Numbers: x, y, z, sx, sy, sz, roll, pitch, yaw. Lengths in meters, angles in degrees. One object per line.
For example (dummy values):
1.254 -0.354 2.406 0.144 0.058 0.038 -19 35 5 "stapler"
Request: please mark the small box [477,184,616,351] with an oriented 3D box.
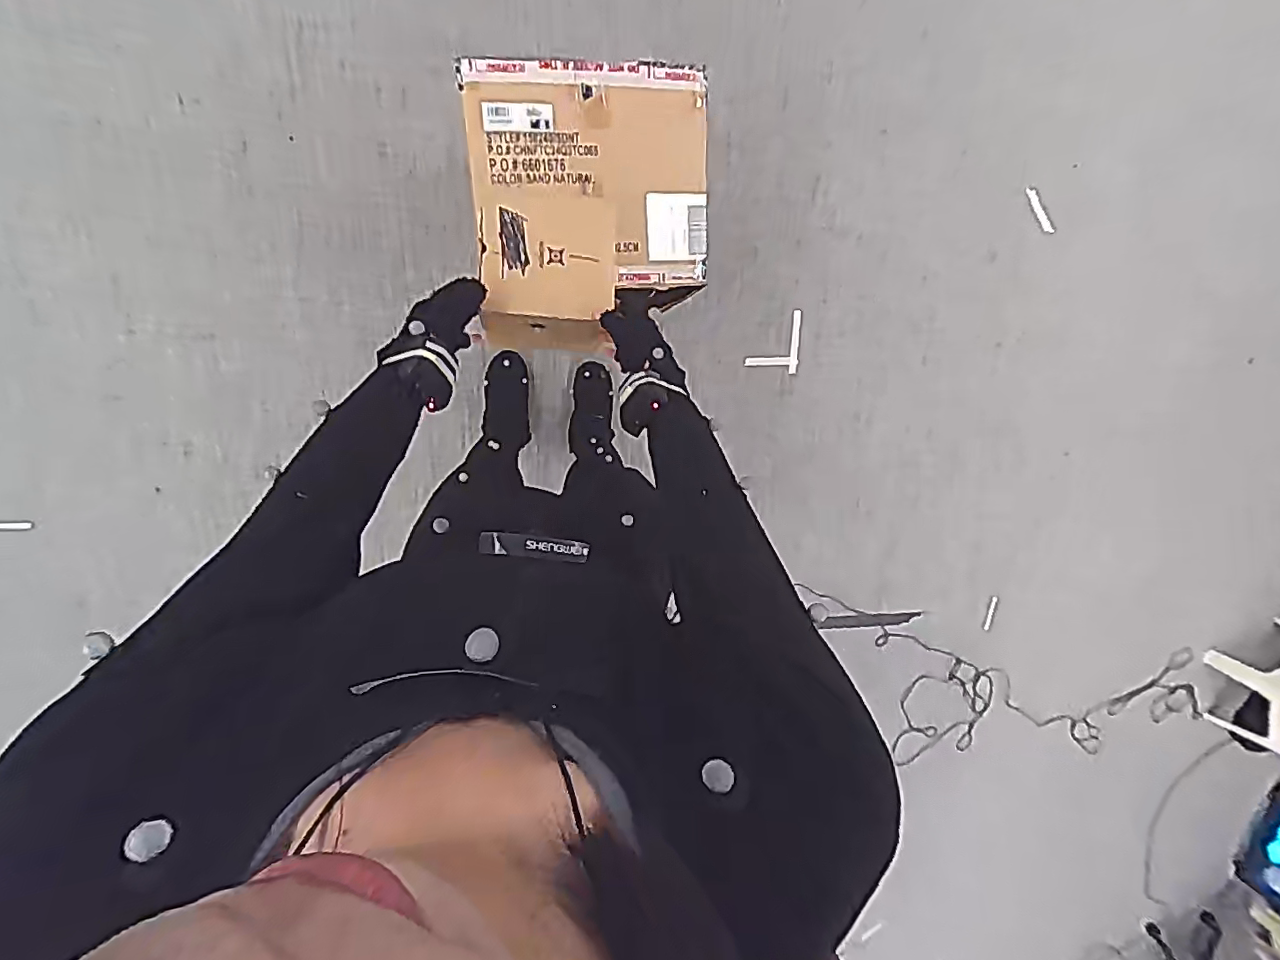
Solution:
-0.134 -0.289 0.774 0.179 0.176 0.168 1 88 -12 "small box"
